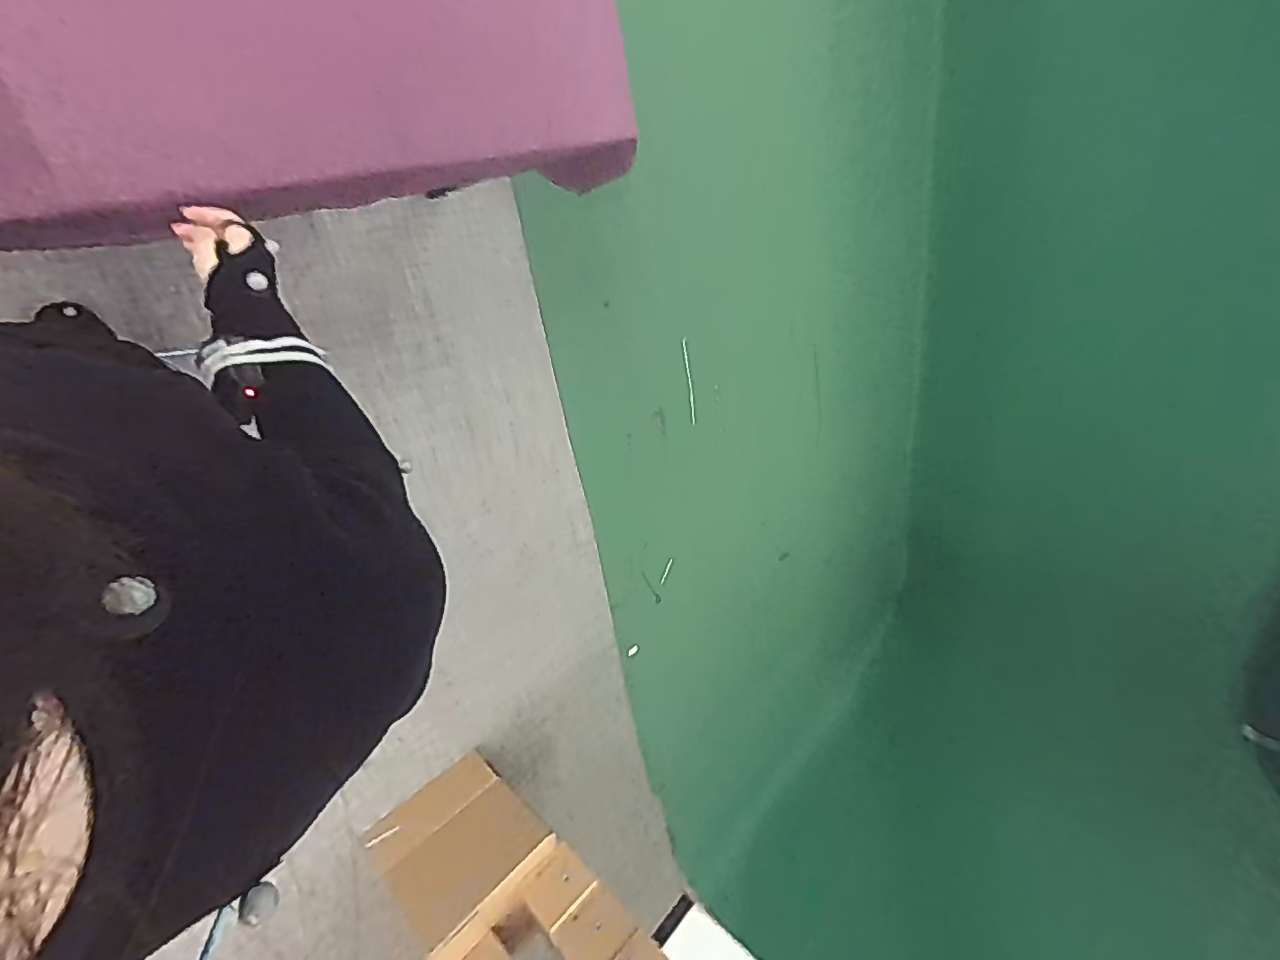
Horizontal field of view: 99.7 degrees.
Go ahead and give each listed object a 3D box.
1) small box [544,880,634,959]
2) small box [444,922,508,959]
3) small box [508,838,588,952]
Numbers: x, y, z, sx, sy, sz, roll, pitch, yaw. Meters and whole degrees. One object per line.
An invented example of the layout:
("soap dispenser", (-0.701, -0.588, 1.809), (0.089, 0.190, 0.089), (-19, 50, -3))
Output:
("small box", (-0.139, 1.230, 1.452), (0.168, 0.176, 0.179), (-27, 121, -37))
("small box", (-0.431, 1.340, 1.425), (0.179, 0.176, 0.168), (-33, 125, -37))
("small box", (-0.257, 1.182, 1.557), (0.168, 0.176, 0.179), (-29, 122, -37))
